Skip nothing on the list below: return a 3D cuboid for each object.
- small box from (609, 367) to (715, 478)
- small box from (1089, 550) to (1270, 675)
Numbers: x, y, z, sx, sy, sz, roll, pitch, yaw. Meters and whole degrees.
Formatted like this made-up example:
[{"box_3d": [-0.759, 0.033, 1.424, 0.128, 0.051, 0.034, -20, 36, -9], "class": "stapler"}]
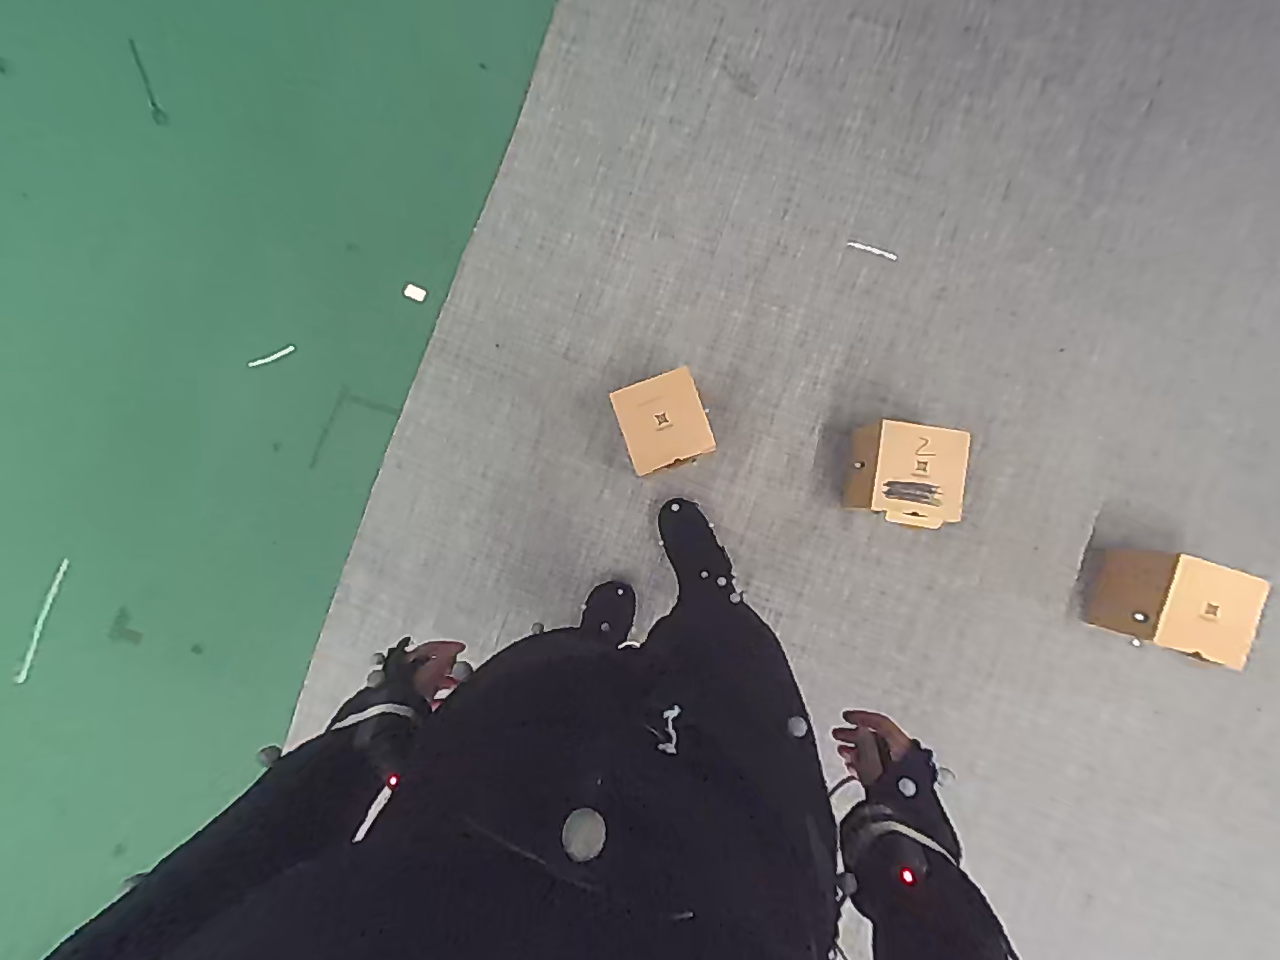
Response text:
[{"box_3d": [0.046, -0.109, 1.122, 0.168, 0.176, 0.179, -20, 86, 1], "class": "small box"}, {"box_3d": [1.036, 0.246, 1.055, 0.168, 0.176, 0.179, 18, 90, 3], "class": "small box"}]
